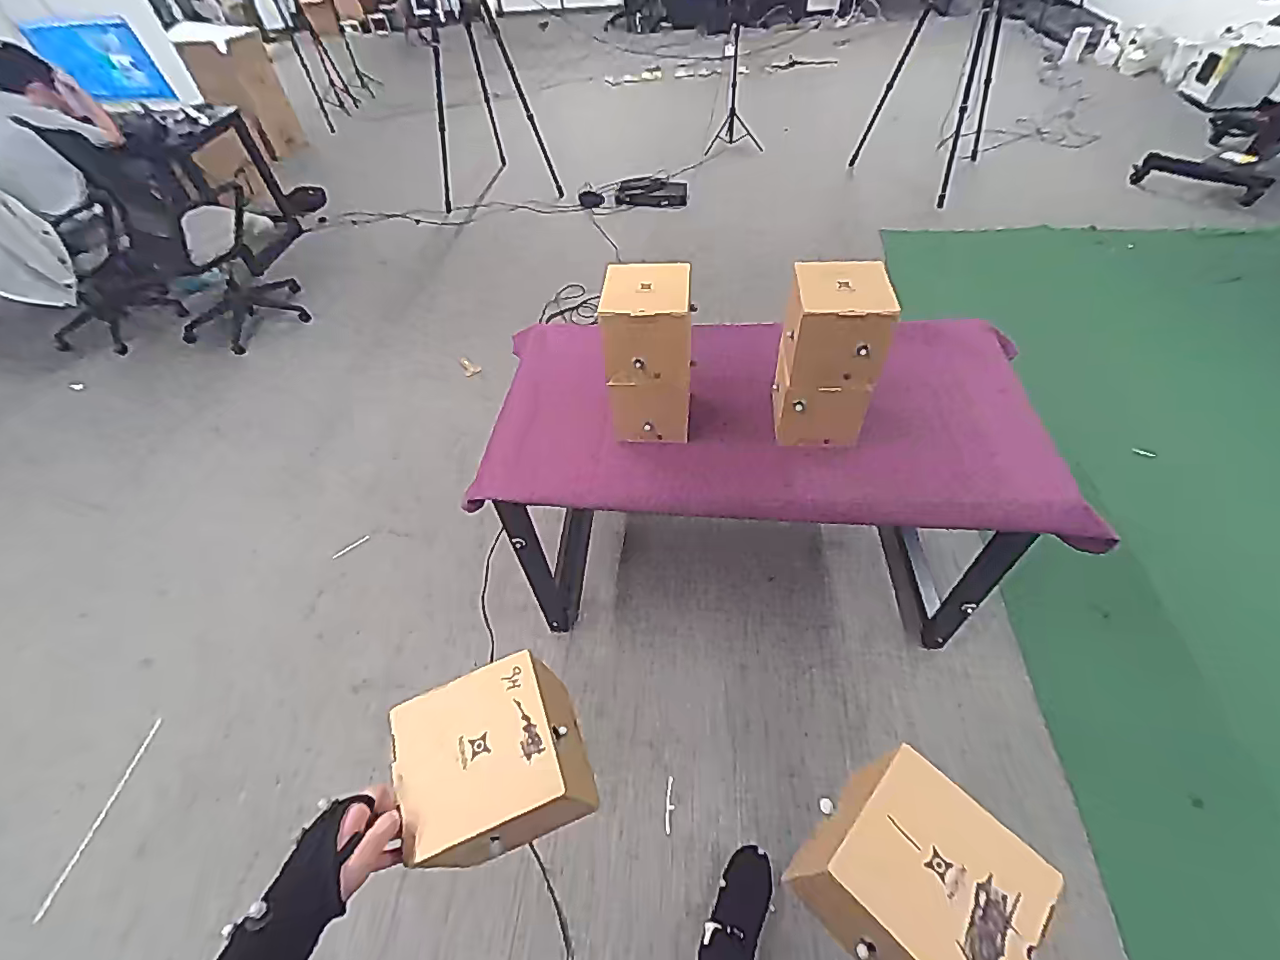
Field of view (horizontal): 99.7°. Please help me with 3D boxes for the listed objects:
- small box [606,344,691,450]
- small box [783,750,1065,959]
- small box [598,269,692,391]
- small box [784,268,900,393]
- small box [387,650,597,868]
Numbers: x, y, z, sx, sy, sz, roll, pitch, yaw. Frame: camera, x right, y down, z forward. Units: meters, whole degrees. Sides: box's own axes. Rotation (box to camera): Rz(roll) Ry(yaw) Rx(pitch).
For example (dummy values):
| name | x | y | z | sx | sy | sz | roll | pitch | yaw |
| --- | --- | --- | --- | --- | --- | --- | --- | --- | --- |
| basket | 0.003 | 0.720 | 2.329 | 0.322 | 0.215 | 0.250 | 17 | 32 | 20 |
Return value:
| name | x | y | z | sx | sy | sz | roll | pitch | yaw |
| --- | --- | --- | --- | --- | --- | --- | --- | --- | --- |
| small box | 0.025 | -0.189 | 1.195 | 0.168 | 0.176 | 0.179 | 2 | 50 | 7 |
| small box | 0.284 | 0.431 | 0.573 | 0.179 | 0.176 | 0.168 | 39 | 57 | 25 |
| small box | 0.016 | -0.297 | 1.073 | 0.168 | 0.176 | 0.179 | 2 | 50 | 5 |
| small box | 0.373 | -0.282 | 1.031 | 0.168 | 0.176 | 0.179 | 2 | 49 | 6 |
| small box | -0.170 | 0.335 | 0.640 | 0.179 | 0.176 | 0.168 | -22 | 53 | -4 |
